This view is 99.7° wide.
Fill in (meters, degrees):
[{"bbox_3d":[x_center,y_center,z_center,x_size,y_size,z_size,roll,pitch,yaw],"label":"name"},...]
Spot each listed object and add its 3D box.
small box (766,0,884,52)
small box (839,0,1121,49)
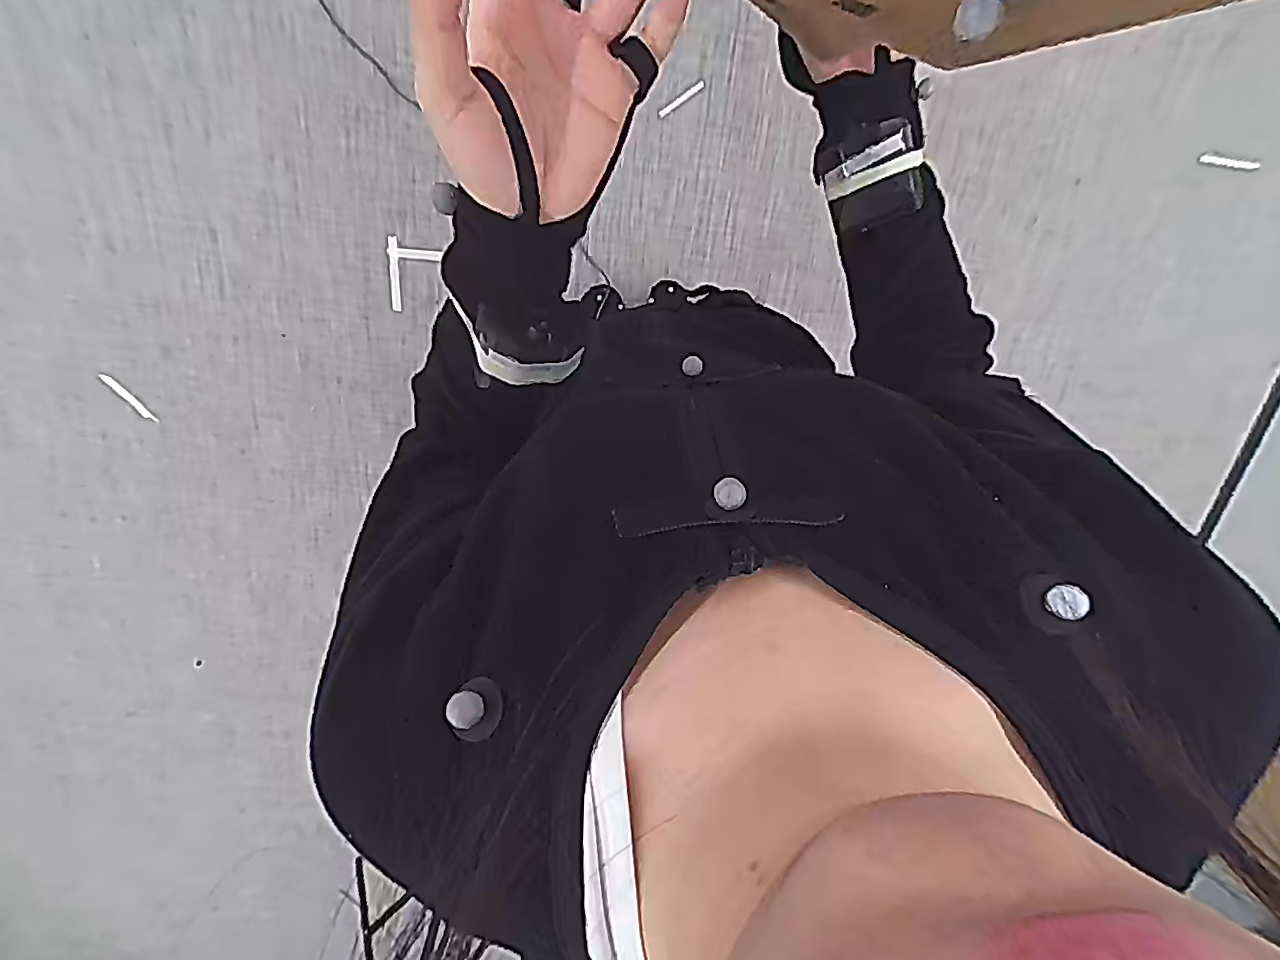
[{"bbox_3d":[0.106,-0.336,0.237,0.168,0.176,0.179,26,116,-17],"label":"small box"},{"bbox_3d":[0.092,-0.225,0.108,0.168,0.176,0.179,10,118,-14],"label":"small box"}]
